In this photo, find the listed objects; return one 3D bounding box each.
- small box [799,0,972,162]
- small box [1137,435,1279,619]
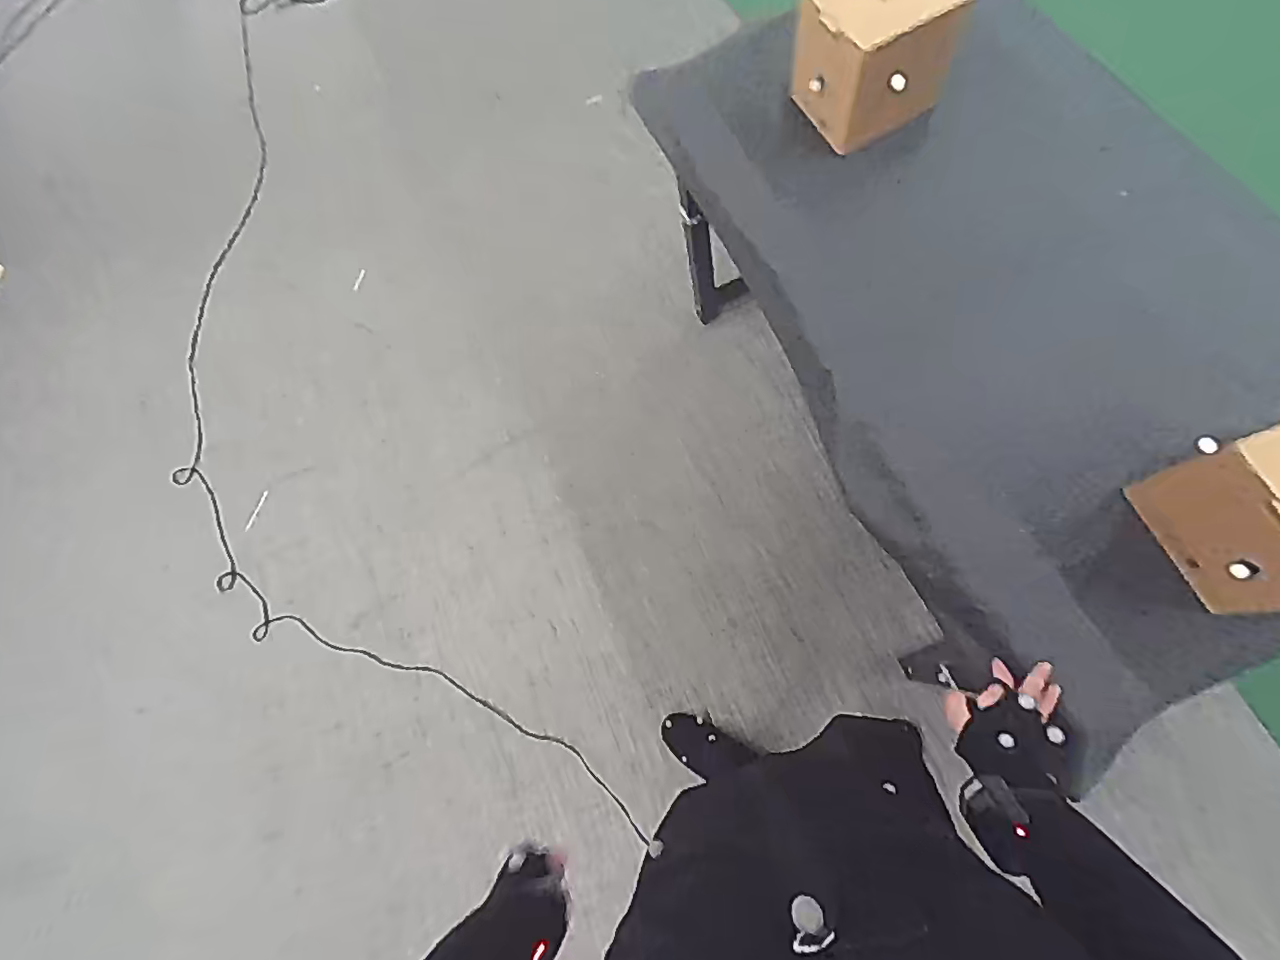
[{"bbox_3d":[0.363,-0.646,0.845,0.179,0.176,0.168,-27,71,2],"label":"small box"},{"bbox_3d":[0.692,0.040,0.572,0.179,0.176,0.168,-22,71,2],"label":"small box"}]
